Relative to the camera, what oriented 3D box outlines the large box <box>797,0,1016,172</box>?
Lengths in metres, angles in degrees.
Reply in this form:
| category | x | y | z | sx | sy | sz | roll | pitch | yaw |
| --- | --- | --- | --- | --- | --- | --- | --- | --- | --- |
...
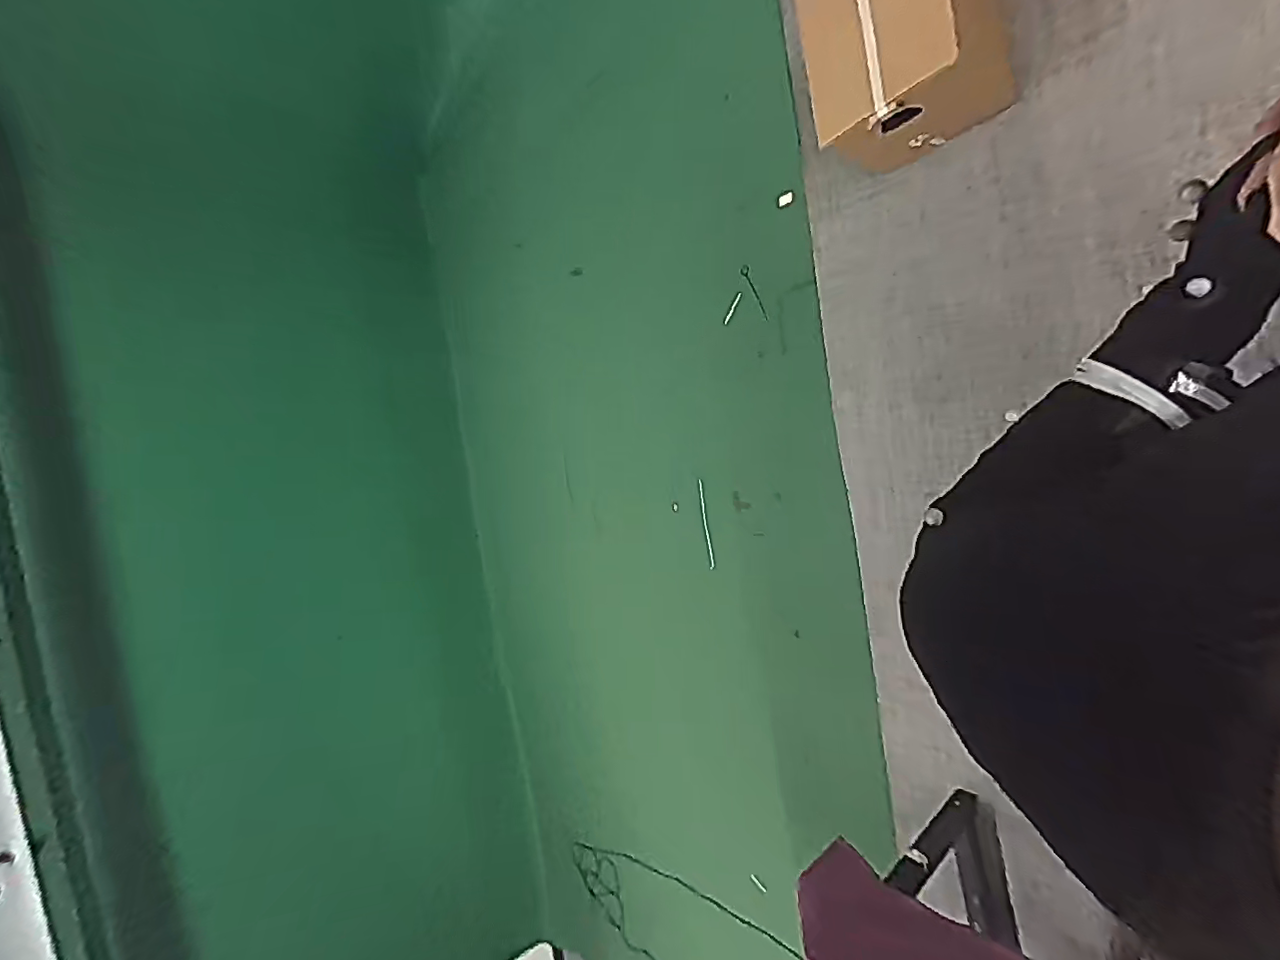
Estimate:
| category | x | y | z | sx | sy | sz | roll | pitch | yaw |
| --- | --- | --- | --- | --- | --- | --- | --- | --- | --- |
| large box | 0.605 | -1.008 | 1.240 | 0.320 | 0.320 | 0.408 | -7 | 93 | 53 |
